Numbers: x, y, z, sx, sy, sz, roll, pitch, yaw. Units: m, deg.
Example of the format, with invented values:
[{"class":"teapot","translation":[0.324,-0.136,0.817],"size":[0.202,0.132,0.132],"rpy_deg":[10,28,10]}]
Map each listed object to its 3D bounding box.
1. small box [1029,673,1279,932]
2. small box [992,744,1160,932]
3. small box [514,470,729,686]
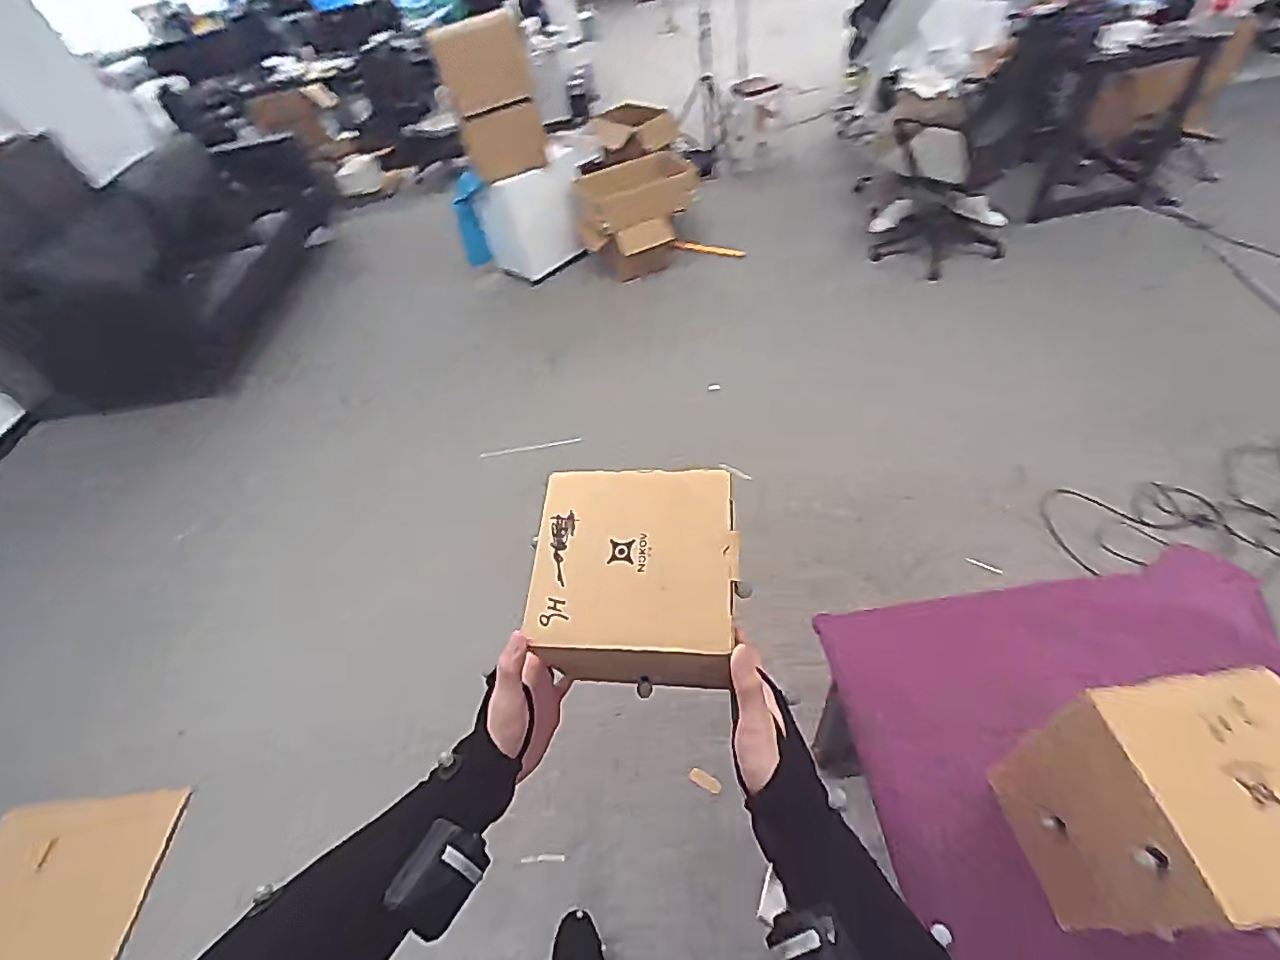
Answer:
[{"class":"small box","translation":[0.520,0.306,0.509],"size":[0.168,0.176,0.179],"rpy_deg":[-8,48,3]},{"class":"small box","translation":[0.559,0.409,0.634],"size":[0.168,0.176,0.179],"rpy_deg":[-10,48,3]},{"class":"small box","translation":[-0.003,0.103,0.538],"size":[0.179,0.176,0.168],"rpy_deg":[0,60,8]}]
